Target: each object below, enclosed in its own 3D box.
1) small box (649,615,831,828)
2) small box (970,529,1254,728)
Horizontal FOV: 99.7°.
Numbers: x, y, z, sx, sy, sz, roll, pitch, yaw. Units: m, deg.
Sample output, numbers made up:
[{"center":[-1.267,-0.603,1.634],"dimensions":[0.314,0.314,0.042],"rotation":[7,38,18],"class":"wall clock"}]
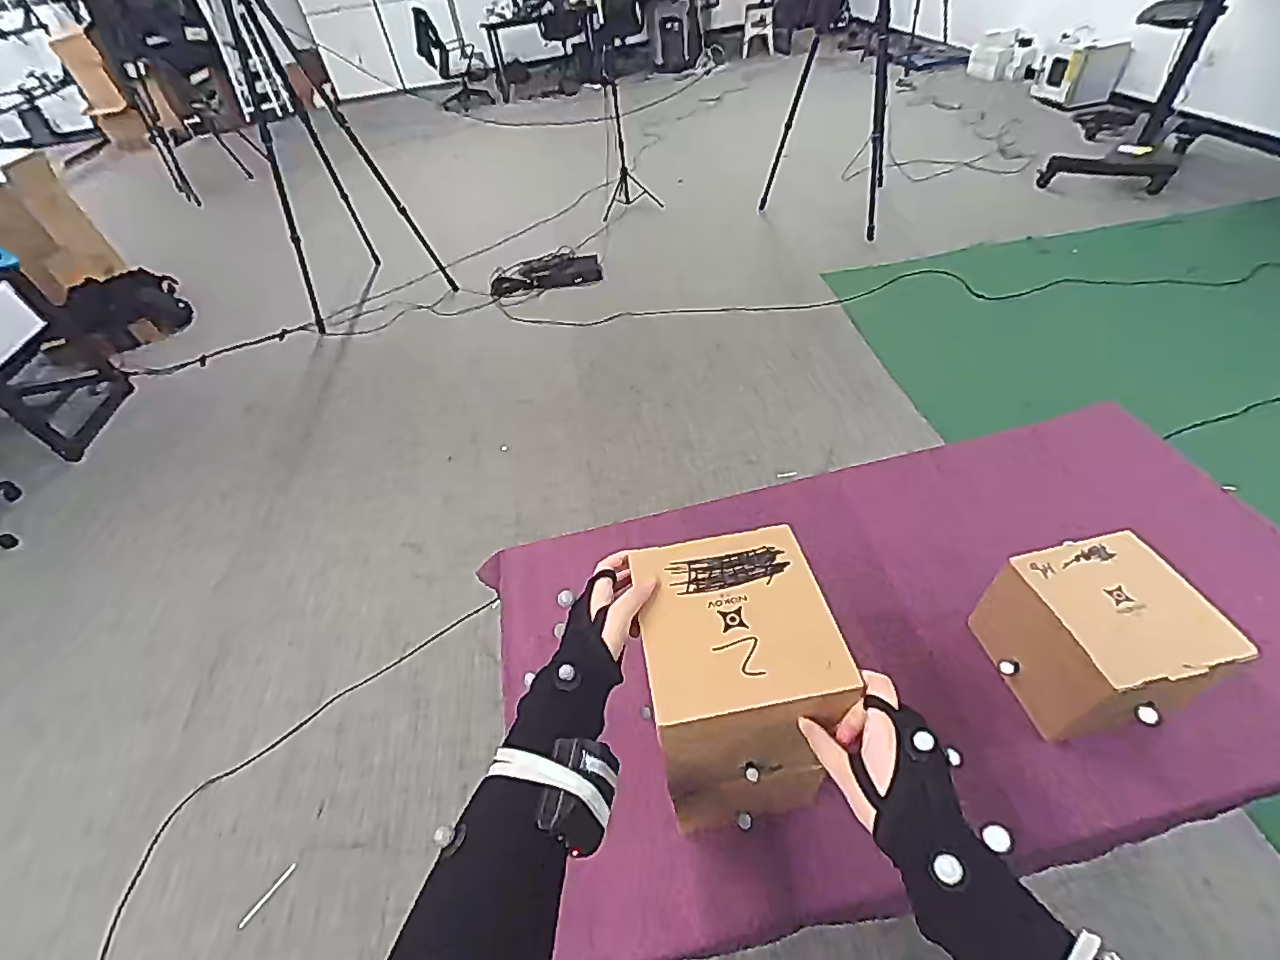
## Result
[{"center":[0.109,0.294,0.658],"dimensions":[0.168,0.176,0.179],"rotation":[-11,48,-2],"class":"small box"},{"center":[0.564,0.194,0.681],"dimensions":[0.168,0.176,0.179],"rotation":[-12,48,-3],"class":"small box"}]
